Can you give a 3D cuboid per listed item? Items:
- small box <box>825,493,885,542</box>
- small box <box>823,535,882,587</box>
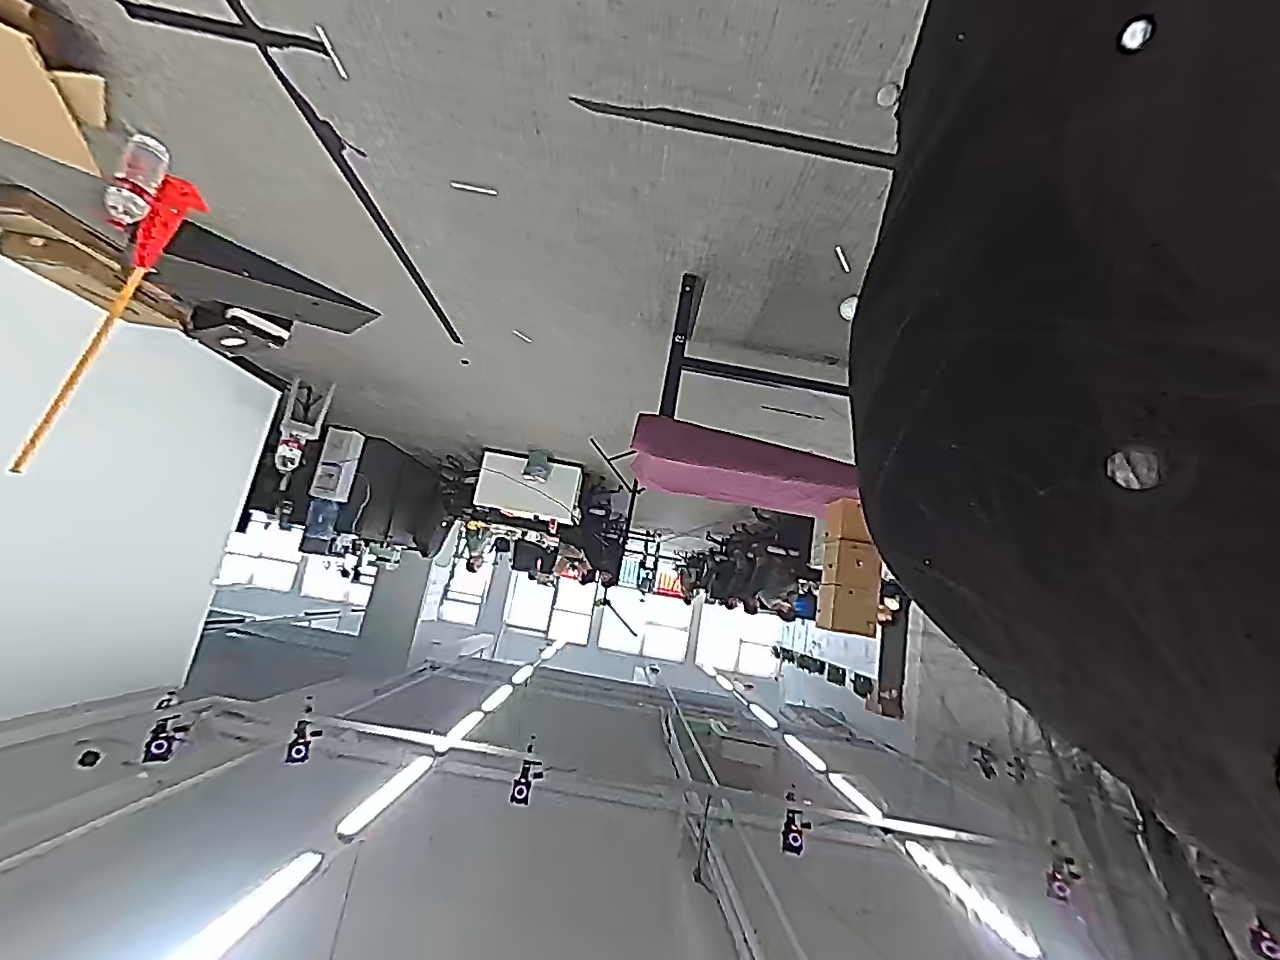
[{"bbox_3d":[0.834,0.153,2.099,0.168,0.176,0.179,10,169,0],"label":"small box"},{"bbox_3d":[0.804,0.307,2.046,0.168,0.176,0.179,9,168,5],"label":"small box"}]
